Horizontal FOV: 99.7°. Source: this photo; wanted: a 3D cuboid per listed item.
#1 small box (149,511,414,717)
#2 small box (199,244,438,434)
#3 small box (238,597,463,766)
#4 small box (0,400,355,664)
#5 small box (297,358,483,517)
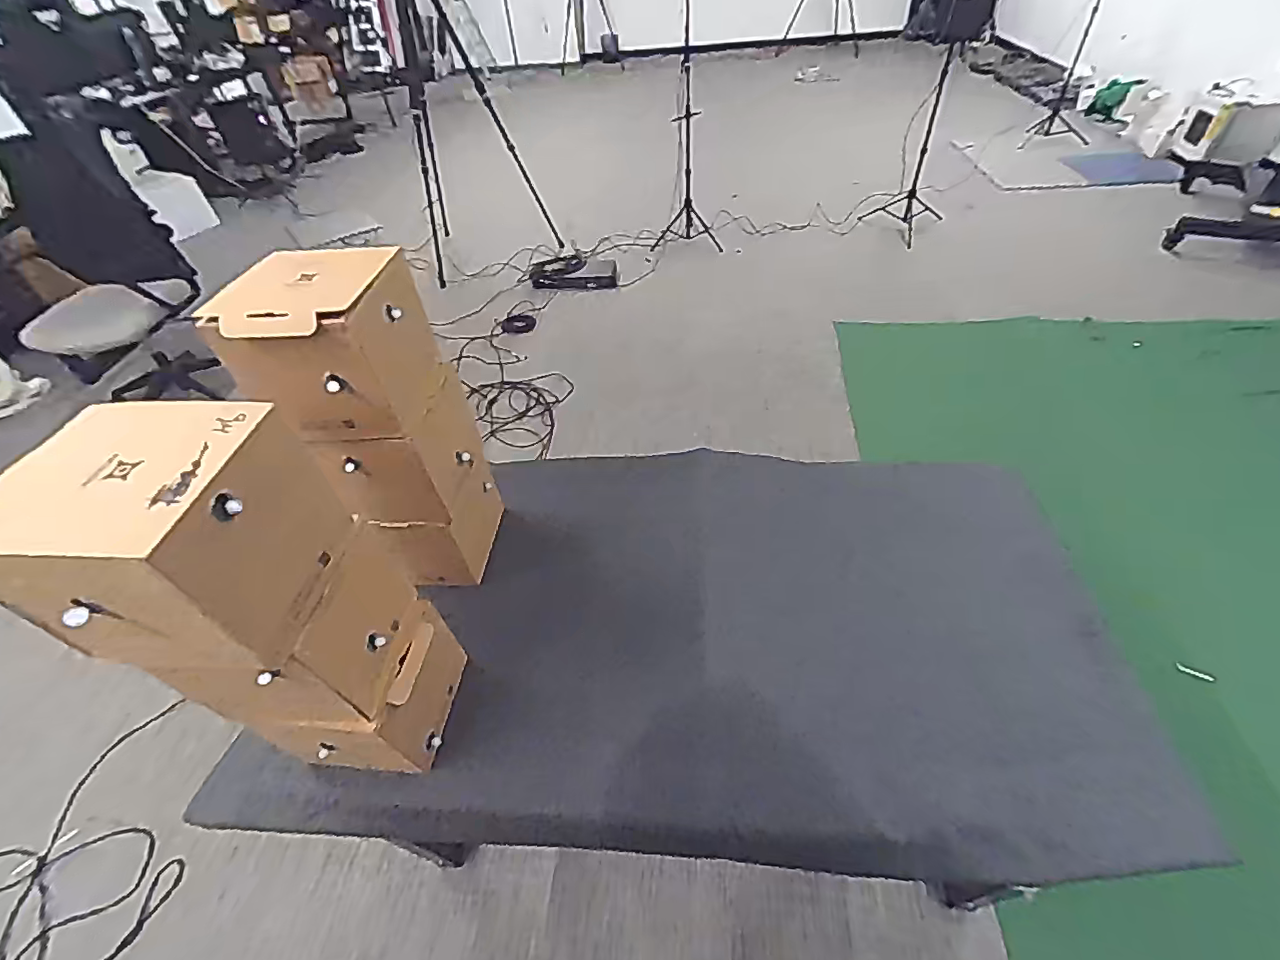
[{"bbox_3d":[-0.384,0.151,0.599,0.179,0.176,0.168,-1,47,4],"label":"small box"},{"bbox_3d":[-0.371,-0.169,0.670,0.168,0.176,0.179,-1,46,3],"label":"small box"},{"bbox_3d":[-0.358,0.263,0.714,0.179,0.176,0.168,1,47,7],"label":"small box"},{"bbox_3d":[-0.394,0.047,0.472,0.179,0.176,0.168,0,47,5],"label":"small box"},{"bbox_3d":[-0.353,-0.060,0.788,0.179,0.176,0.168,1,48,6],"label":"small box"}]
